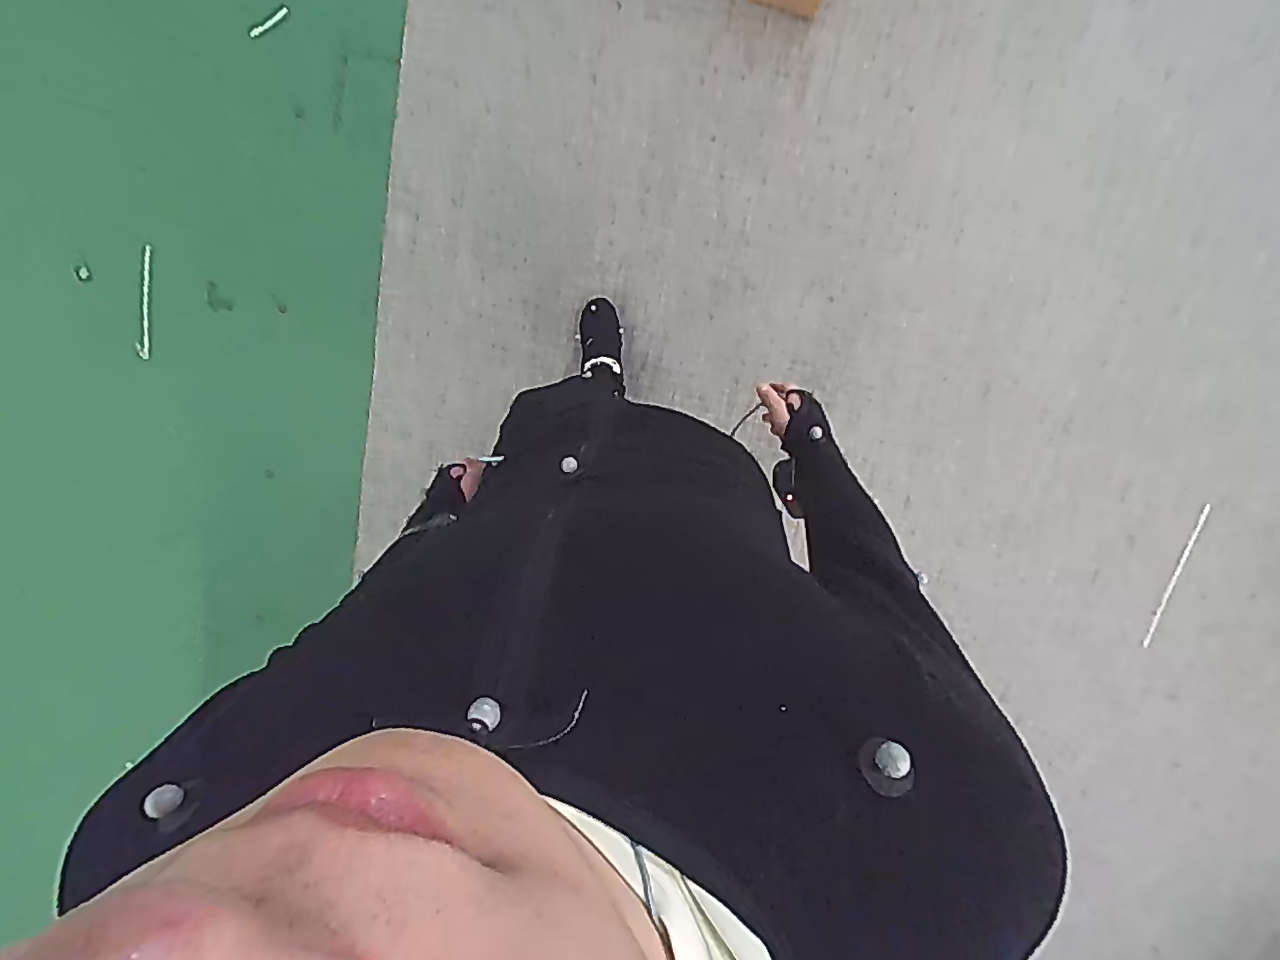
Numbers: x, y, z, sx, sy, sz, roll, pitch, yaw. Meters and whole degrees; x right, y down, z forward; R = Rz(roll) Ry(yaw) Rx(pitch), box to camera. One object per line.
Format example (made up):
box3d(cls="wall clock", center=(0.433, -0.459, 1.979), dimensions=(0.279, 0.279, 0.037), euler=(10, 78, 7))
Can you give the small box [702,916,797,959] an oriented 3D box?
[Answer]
box3d(cls="small box", center=(0.211, 0.987, 1.025), dimensions=(0.168, 0.176, 0.179), euler=(8, 103, -1))
